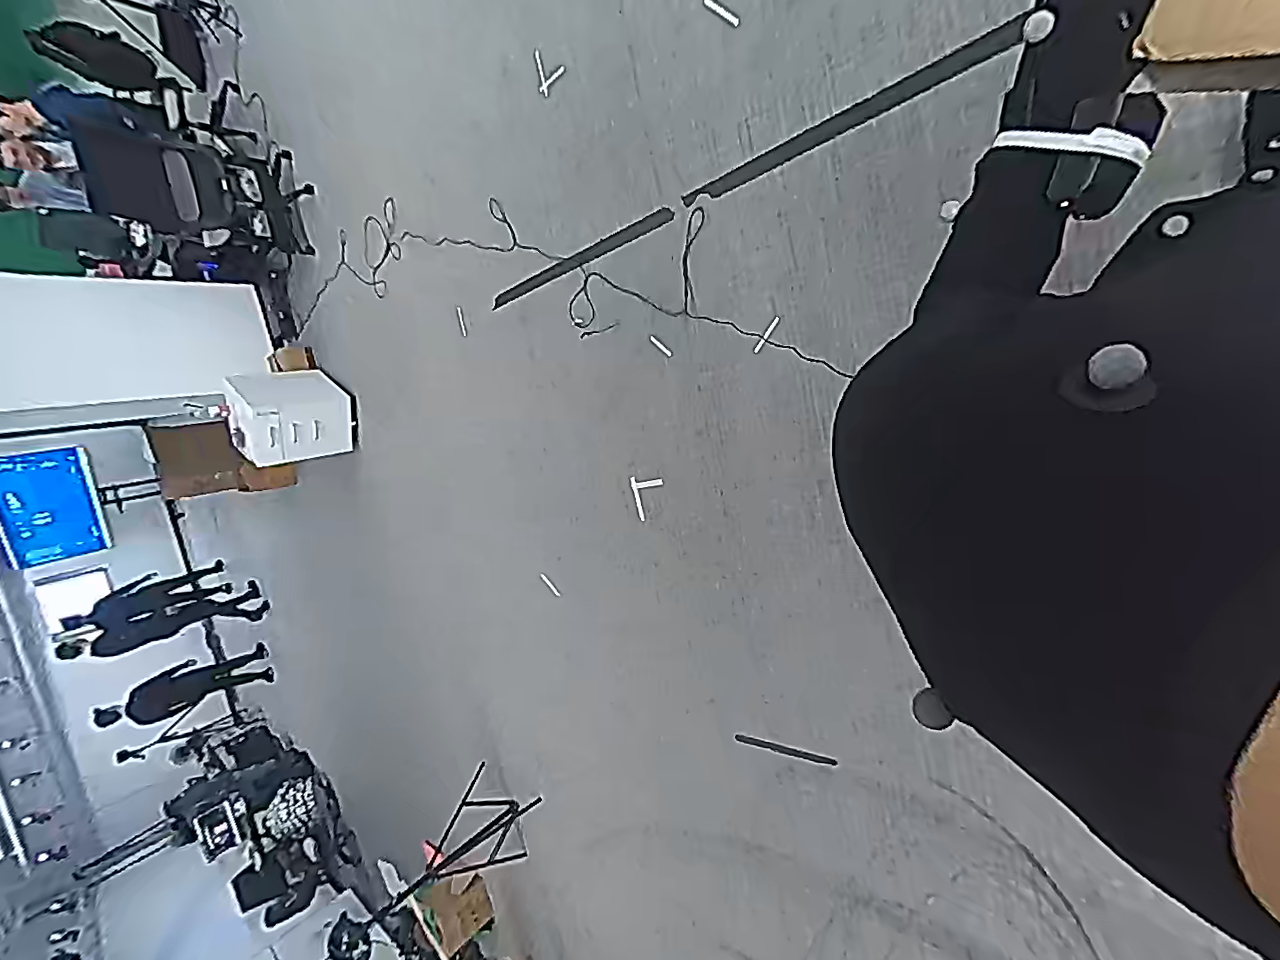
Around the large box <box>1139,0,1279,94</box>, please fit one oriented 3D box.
[{"bbox_3d":[0.575,-0.408,0.272,0.408,0.320,0.320,23,130,34],"label":"large box"}]
